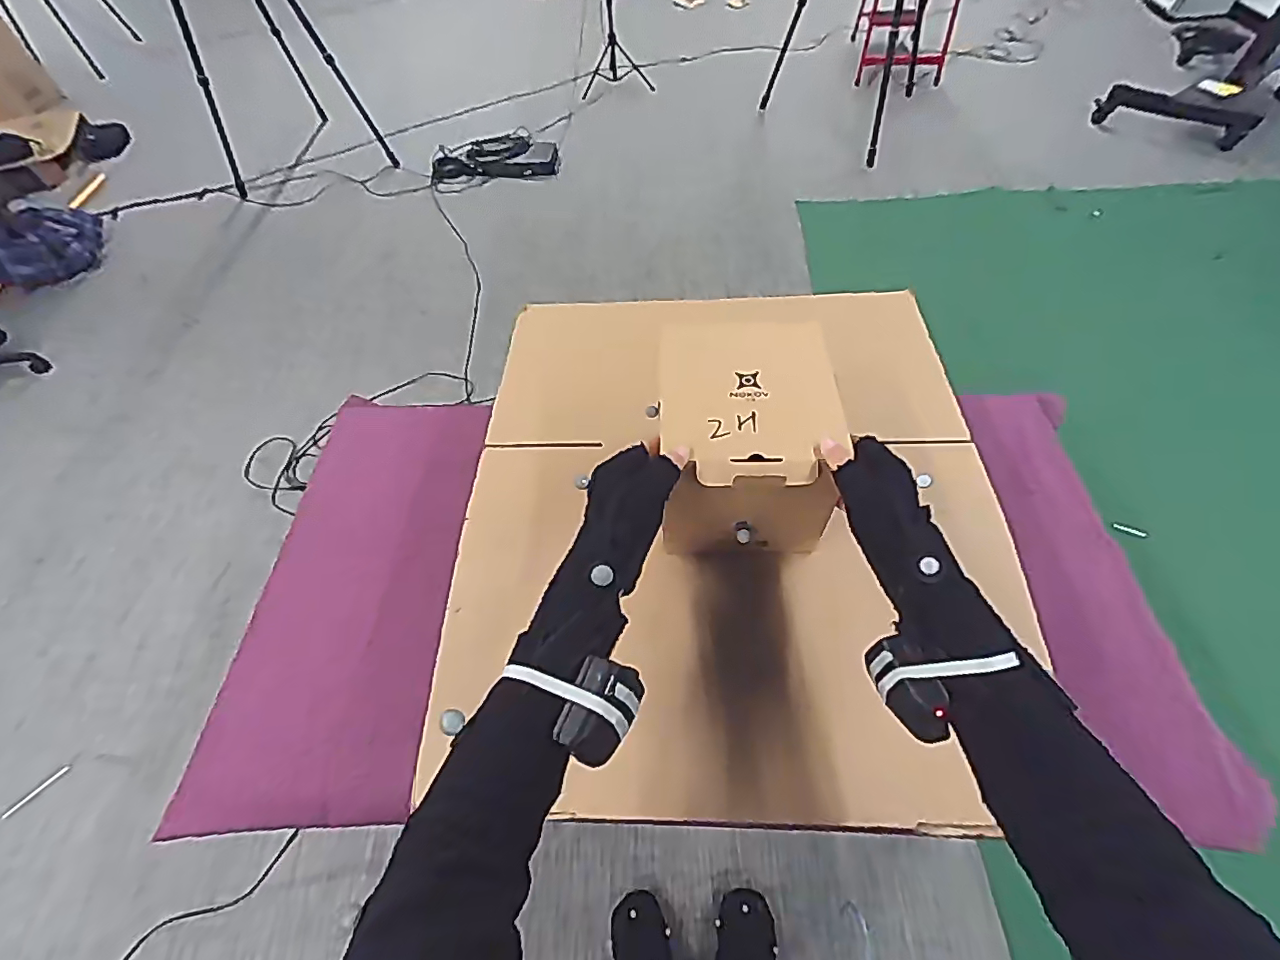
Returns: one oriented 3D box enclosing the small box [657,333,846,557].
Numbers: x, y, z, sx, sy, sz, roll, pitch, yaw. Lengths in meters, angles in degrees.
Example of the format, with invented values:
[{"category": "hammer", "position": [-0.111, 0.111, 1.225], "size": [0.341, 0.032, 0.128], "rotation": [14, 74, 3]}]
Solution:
[{"category": "small box", "position": [0.103, -0.034, 0.579], "size": [0.168, 0.176, 0.179], "rotation": [-1, 56, 4]}]
